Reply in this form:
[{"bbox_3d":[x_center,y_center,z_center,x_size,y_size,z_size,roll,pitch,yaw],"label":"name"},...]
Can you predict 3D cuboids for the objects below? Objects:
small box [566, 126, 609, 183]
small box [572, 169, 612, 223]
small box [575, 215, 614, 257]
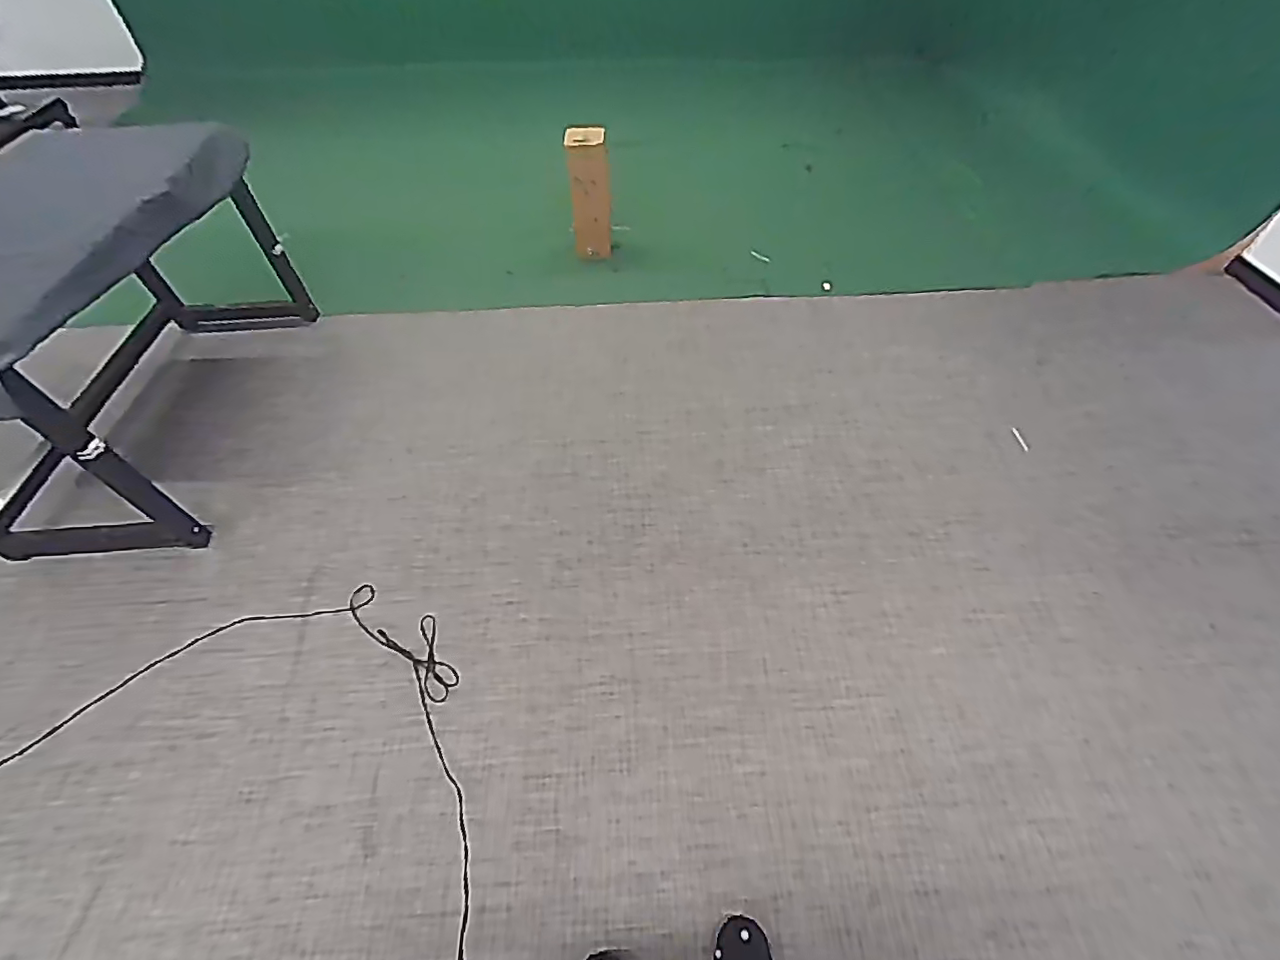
[{"bbox_3d":[-0.223,-1.402,2.338,0.168,0.176,0.179,-1,52,1],"label":"small box"},{"bbox_3d":[-0.215,-1.297,2.465,0.168,0.176,0.179,-1,52,1],"label":"small box"},{"bbox_3d":[-0.215,-1.194,2.592,0.168,0.176,0.179,-2,54,1],"label":"small box"}]
